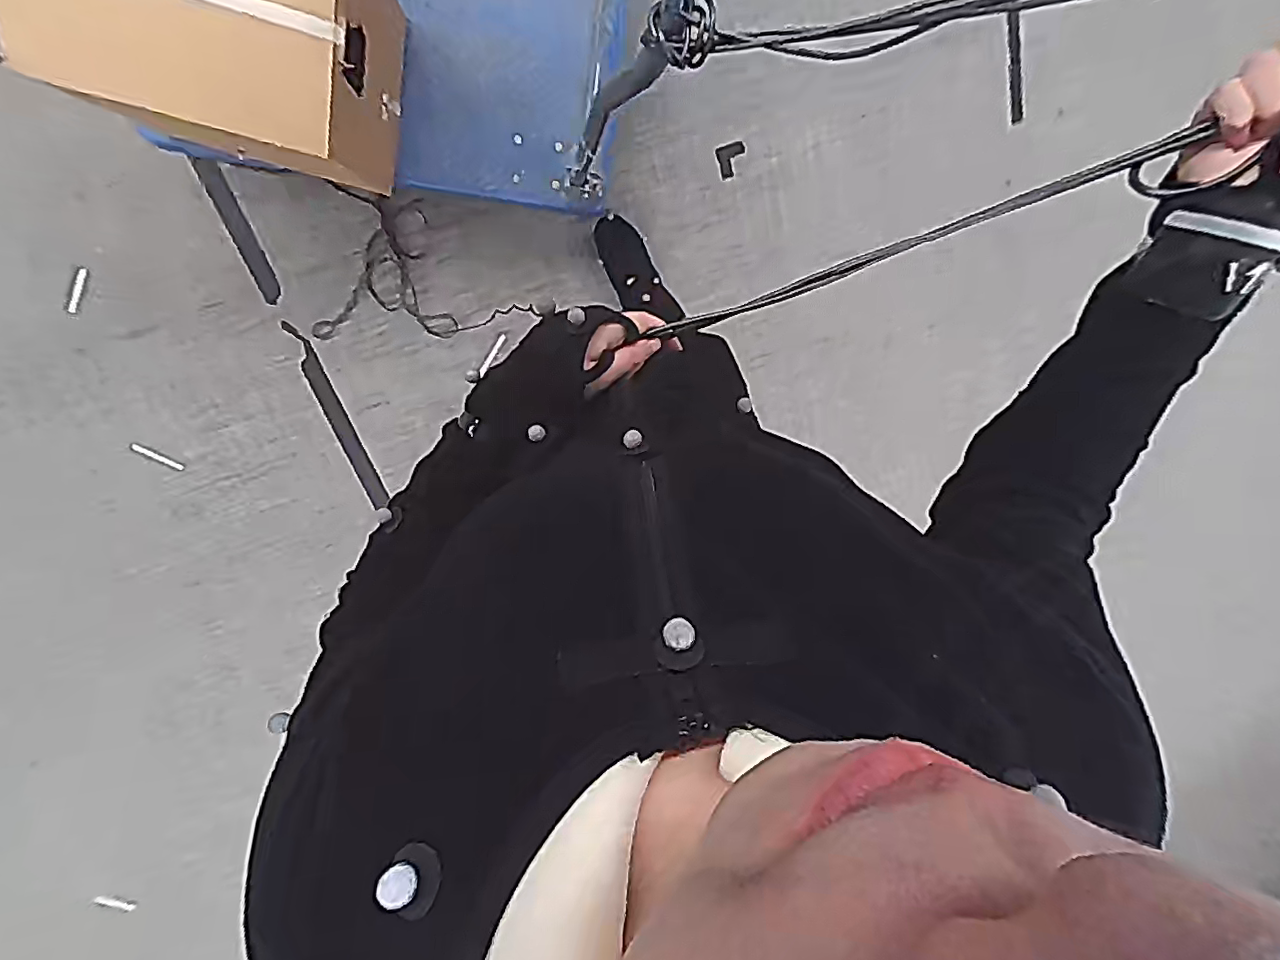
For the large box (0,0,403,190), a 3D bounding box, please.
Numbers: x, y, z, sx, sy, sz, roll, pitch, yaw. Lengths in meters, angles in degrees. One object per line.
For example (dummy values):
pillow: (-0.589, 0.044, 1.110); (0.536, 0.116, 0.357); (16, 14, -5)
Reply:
large box: (-0.628, -0.690, 0.844); (0.408, 0.320, 0.320); (10, 106, -11)
